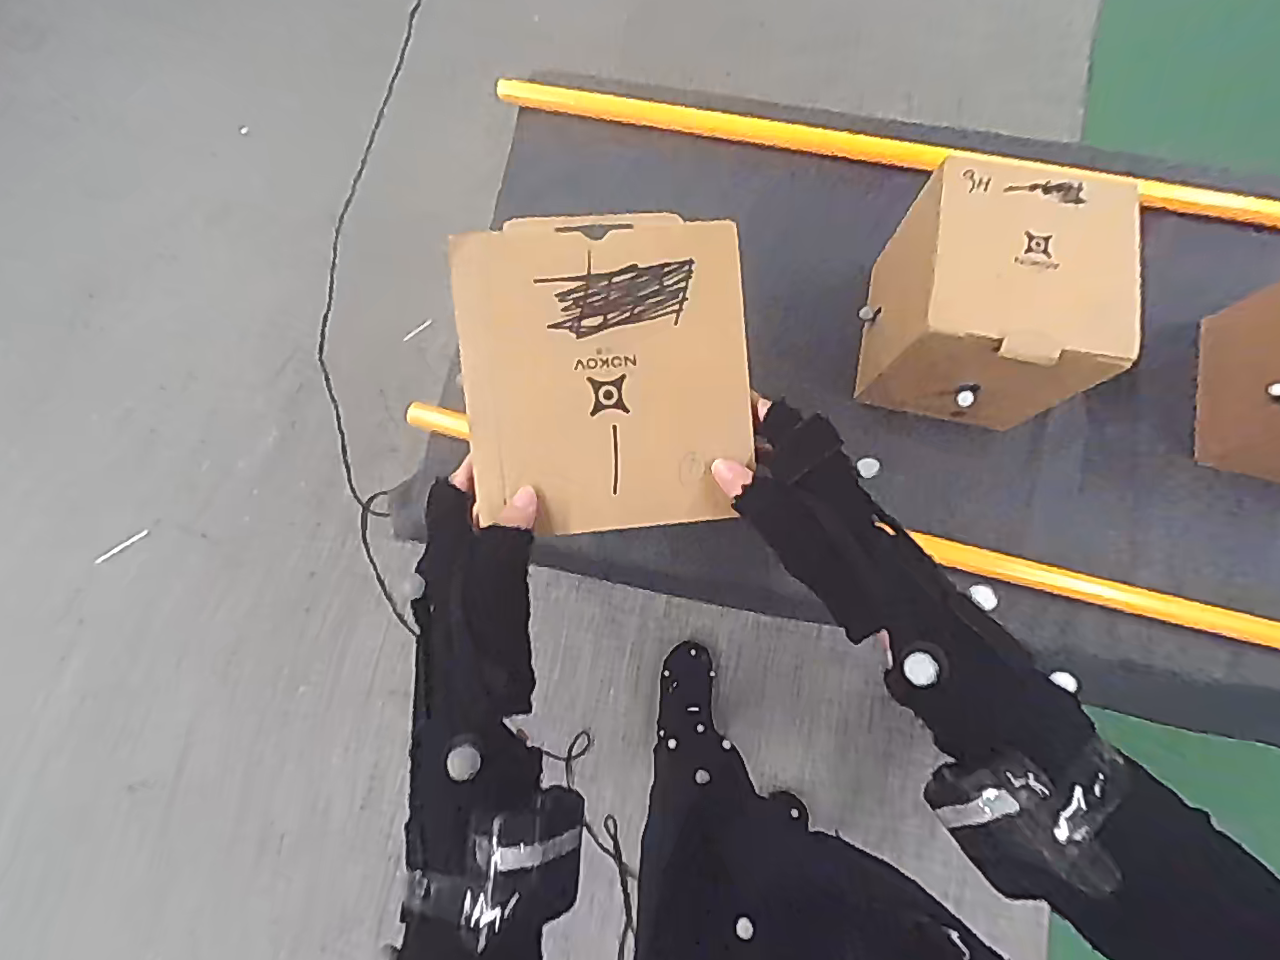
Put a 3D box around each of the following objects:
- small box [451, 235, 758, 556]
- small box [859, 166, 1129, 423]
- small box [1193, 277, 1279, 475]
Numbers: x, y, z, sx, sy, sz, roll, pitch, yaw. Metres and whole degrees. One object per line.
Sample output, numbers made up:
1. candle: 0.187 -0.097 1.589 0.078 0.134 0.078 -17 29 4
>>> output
1. small box: -0.026 -0.051 0.390 0.168 0.176 0.179 -6 92 -5
2. small box: 0.330 -0.170 0.537 0.168 0.176 0.179 8 76 5
3. small box: 0.681 -0.100 0.507 0.168 0.176 0.179 14 76 4
